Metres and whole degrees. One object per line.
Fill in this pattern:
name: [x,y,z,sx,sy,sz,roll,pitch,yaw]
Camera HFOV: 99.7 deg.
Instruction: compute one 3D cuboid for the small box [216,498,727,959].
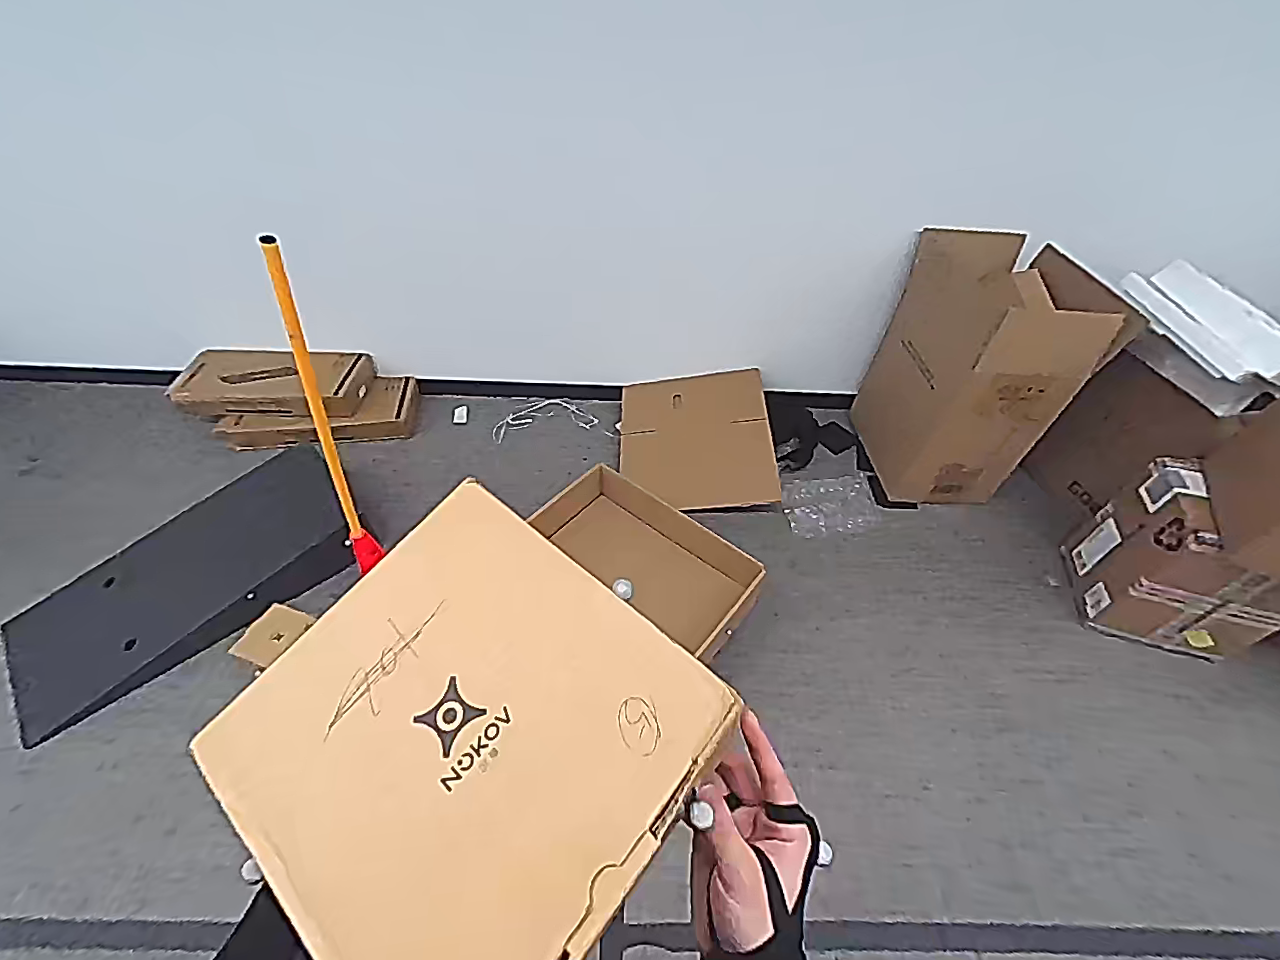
small box: [-0.068,0.147,0.307,0.179,0.176,0.168,32,68,24]
